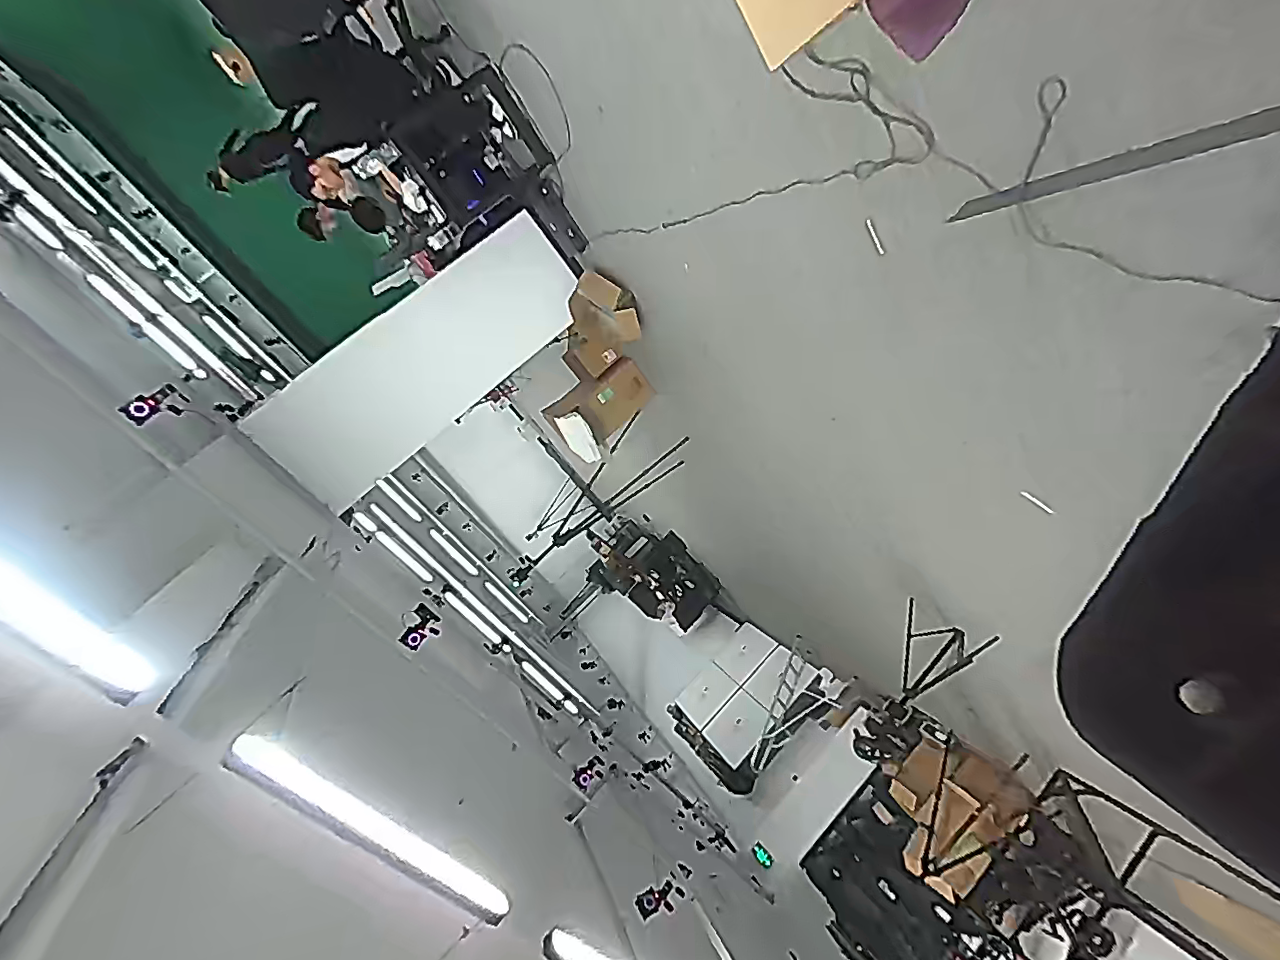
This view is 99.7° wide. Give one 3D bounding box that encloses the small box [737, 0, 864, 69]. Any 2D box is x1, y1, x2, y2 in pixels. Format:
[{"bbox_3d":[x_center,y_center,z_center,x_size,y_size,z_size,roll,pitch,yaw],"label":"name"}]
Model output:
[{"bbox_3d":[0.234,-0.689,0.690,0.168,0.176,0.179,52,166,-22],"label":"small box"}]
